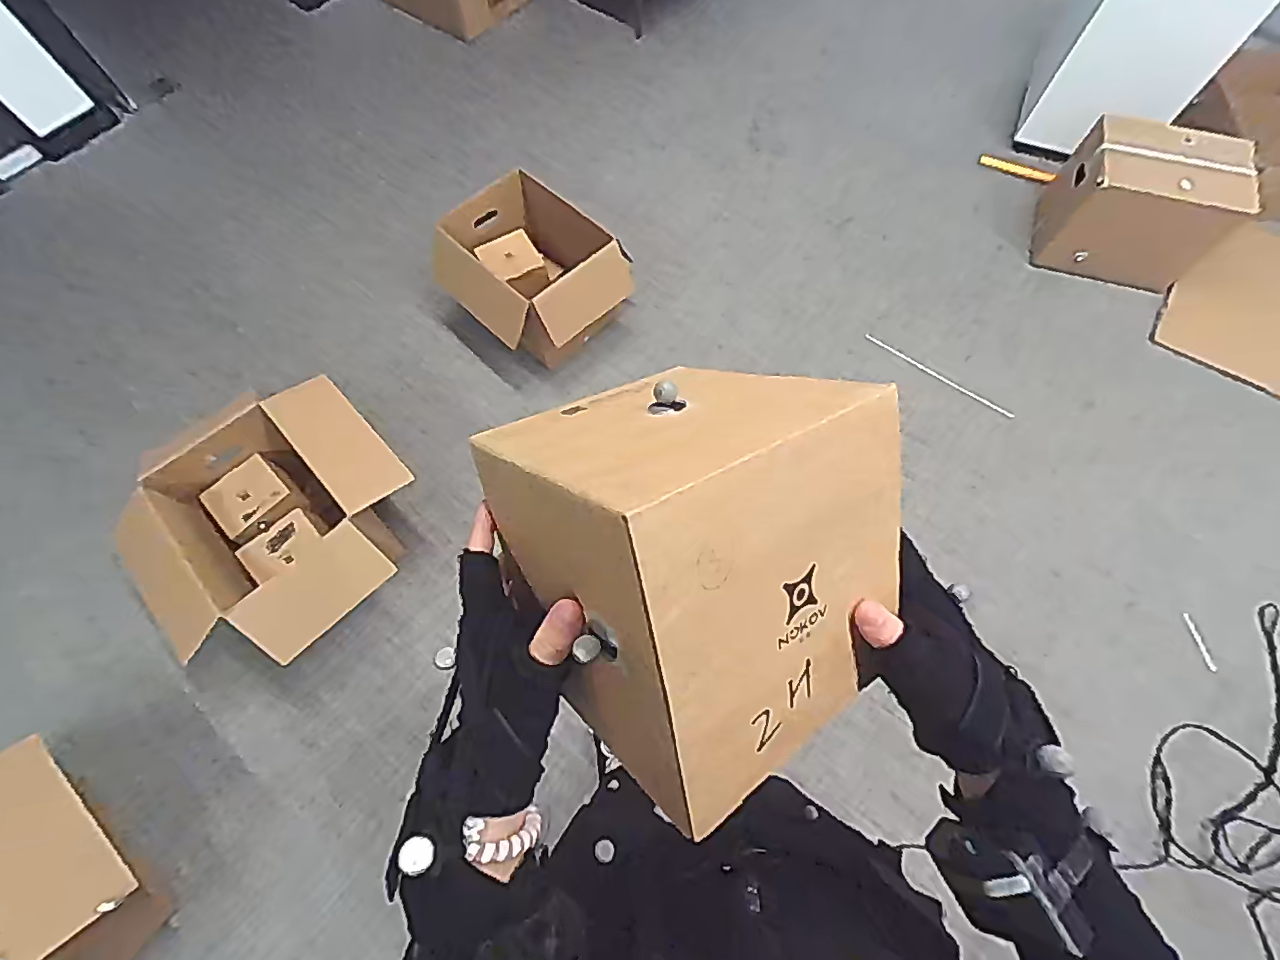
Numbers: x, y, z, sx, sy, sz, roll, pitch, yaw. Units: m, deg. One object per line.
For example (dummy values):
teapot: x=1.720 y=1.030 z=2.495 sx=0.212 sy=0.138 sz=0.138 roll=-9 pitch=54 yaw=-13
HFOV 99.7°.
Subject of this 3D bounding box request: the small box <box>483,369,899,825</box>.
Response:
small box: x=0.028 y=0.038 z=0.319 sx=0.168 sy=0.179 sz=0.176 roll=-24 pitch=25 yaw=-29
